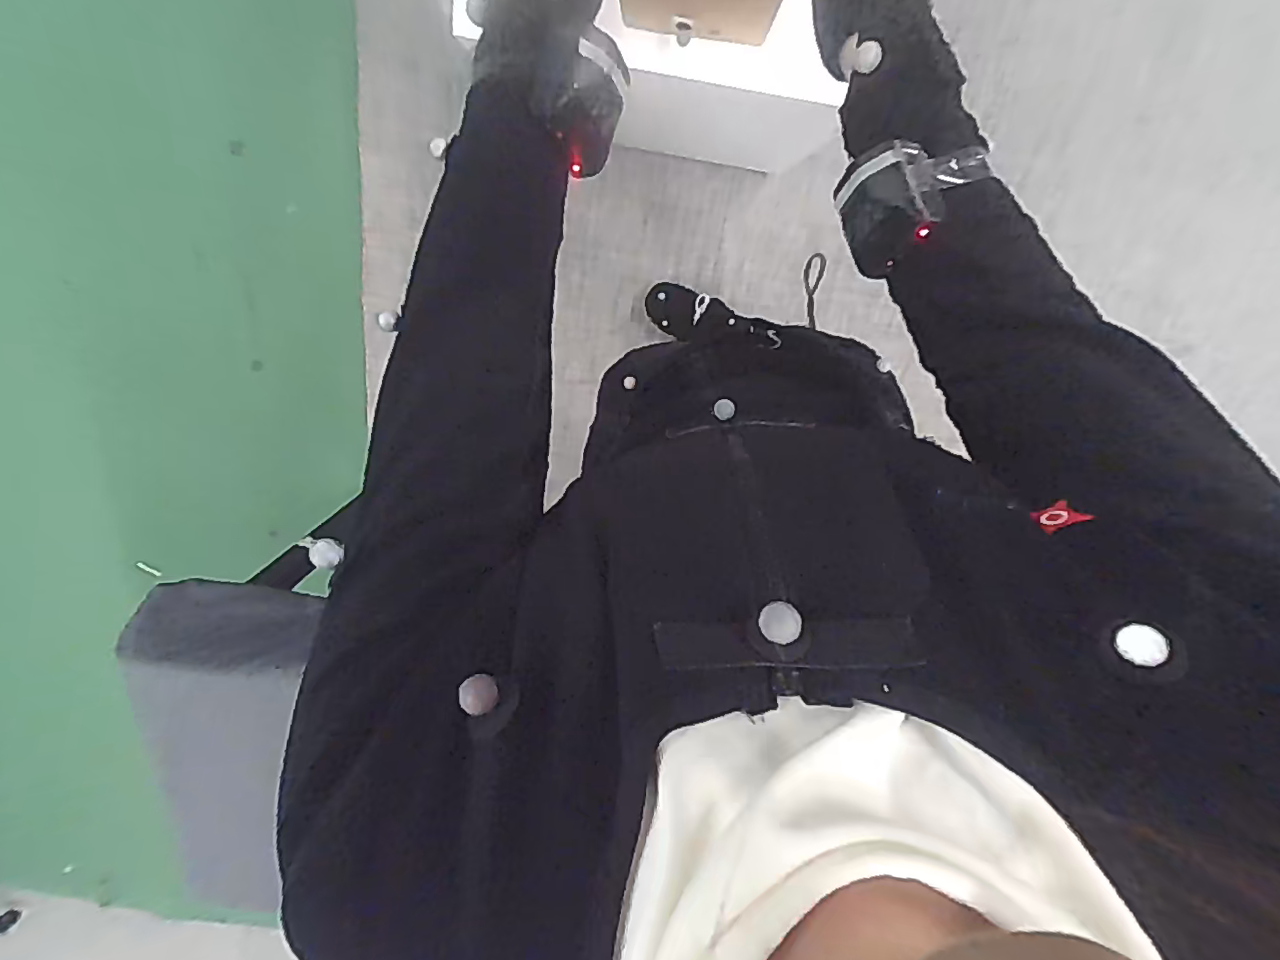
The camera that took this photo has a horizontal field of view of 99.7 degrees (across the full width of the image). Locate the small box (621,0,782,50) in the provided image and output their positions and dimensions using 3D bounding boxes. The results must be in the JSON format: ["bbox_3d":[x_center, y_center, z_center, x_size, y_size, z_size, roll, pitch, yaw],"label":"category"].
[{"bbox_3d":[0.065,-0.553,0.516,0.168,0.176,0.179,8,114,2],"label":"small box"}]
